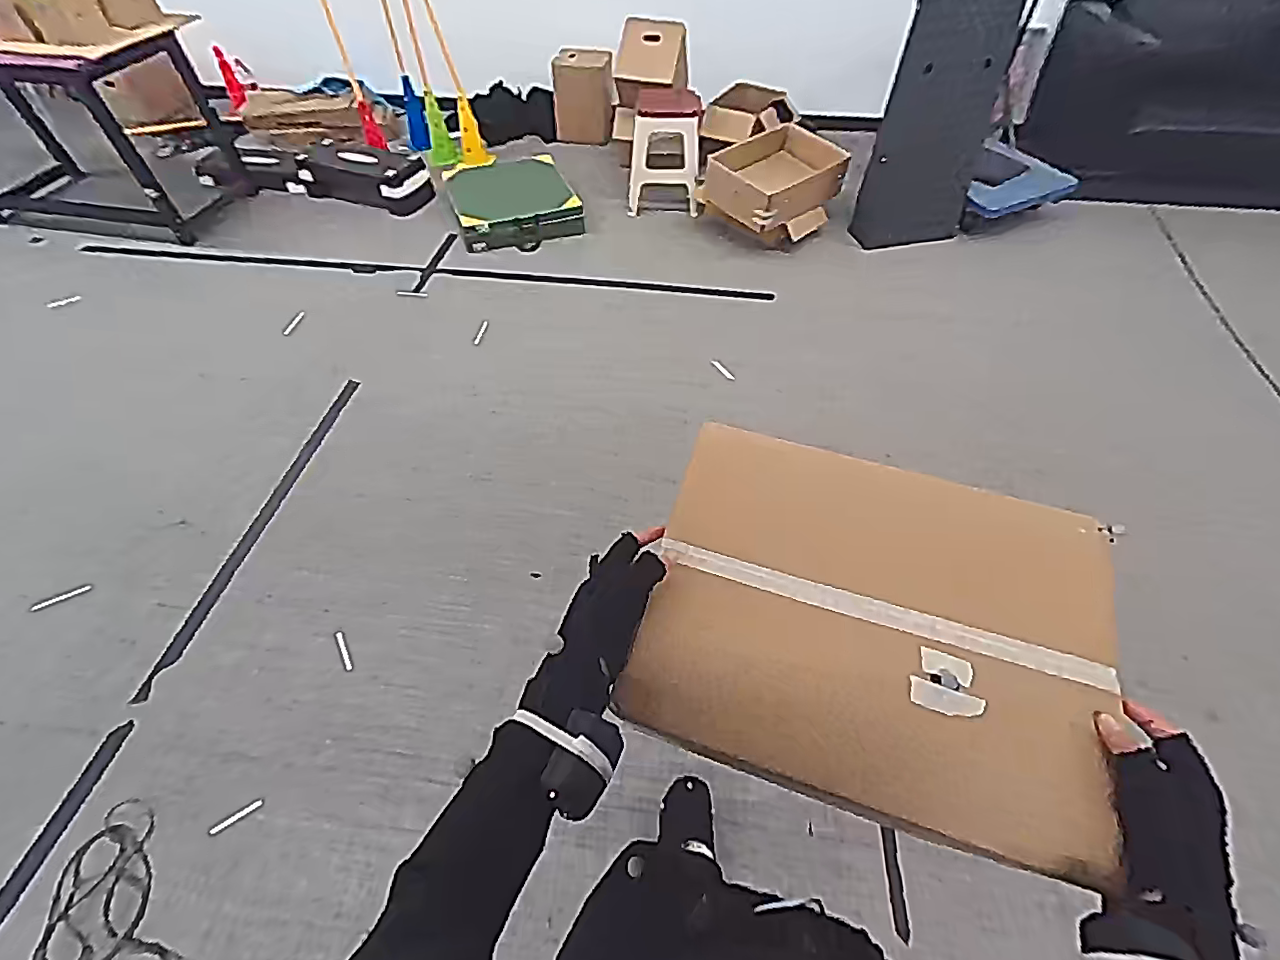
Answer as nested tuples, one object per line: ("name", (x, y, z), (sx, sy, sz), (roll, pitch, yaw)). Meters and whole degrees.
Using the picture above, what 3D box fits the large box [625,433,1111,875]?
("large box", (0.222, 0.192, 0.641), (0.408, 0.320, 0.320), (16, 65, 11))
